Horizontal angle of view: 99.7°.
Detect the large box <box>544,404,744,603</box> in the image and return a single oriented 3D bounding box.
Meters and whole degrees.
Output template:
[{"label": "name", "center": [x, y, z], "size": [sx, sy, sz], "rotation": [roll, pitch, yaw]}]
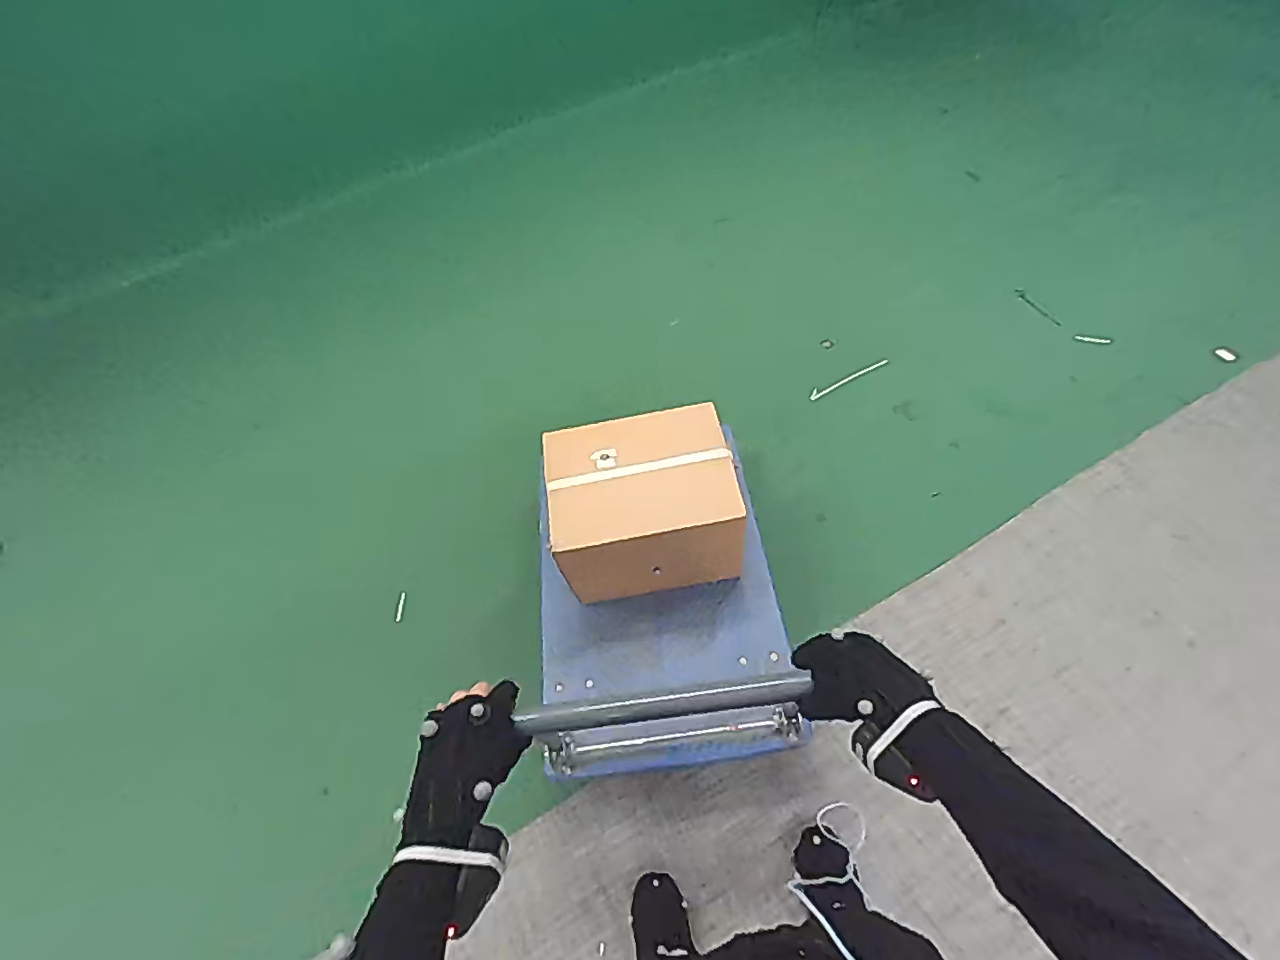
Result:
[{"label": "large box", "center": [0.013, 0.067, 1.302], "size": [0.408, 0.320, 0.320], "rotation": [-12, 56, 1]}]
